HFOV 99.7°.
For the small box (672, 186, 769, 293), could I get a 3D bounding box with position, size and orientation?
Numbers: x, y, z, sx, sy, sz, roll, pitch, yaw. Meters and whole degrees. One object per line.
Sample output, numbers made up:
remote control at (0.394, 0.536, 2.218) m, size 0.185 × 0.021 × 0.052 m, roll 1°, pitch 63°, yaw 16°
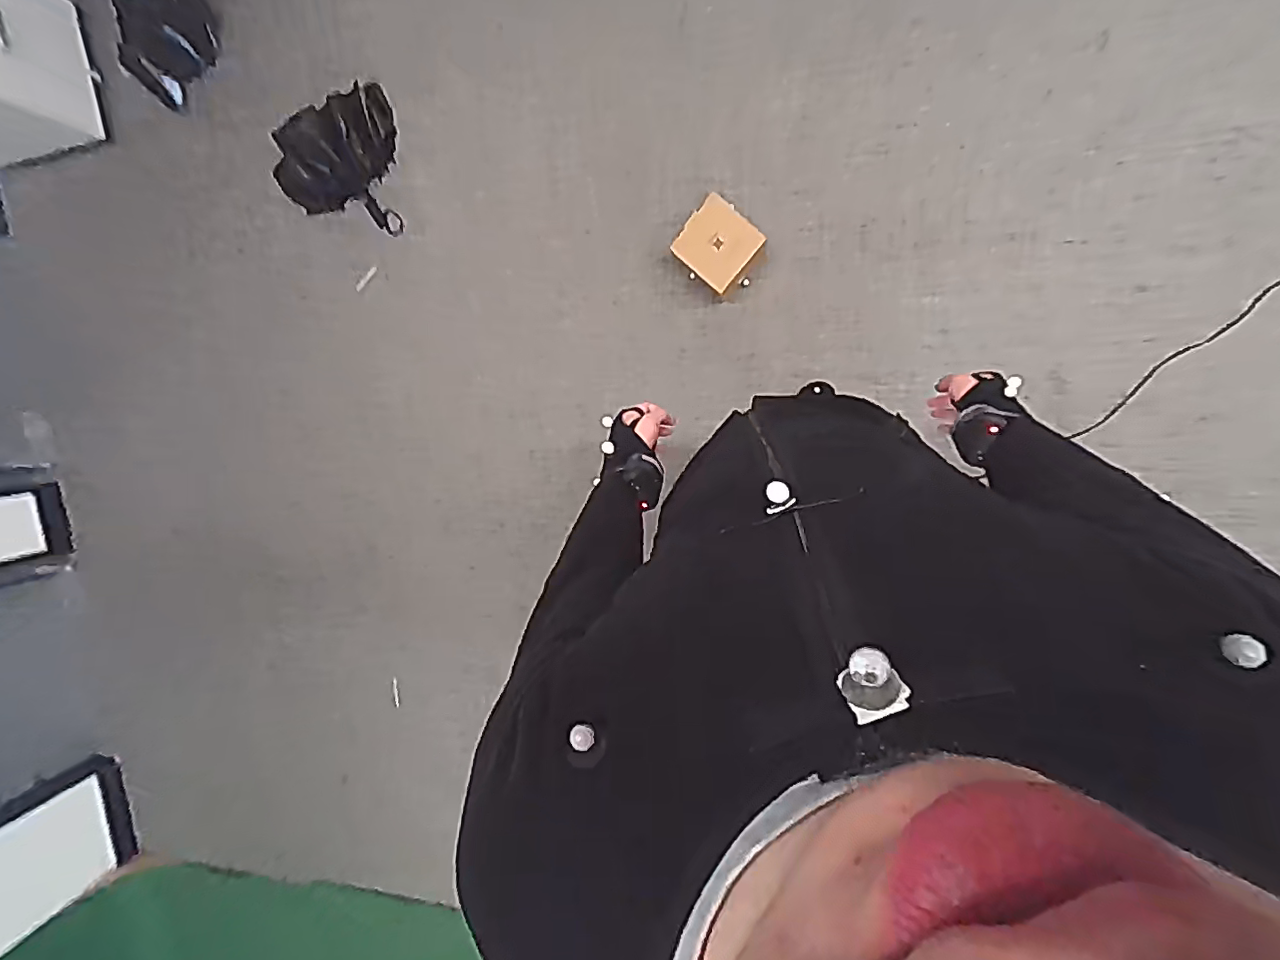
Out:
small box at (0.208, -0.600, 1.379) m, size 0.179 × 0.176 × 0.168 m, roll 42°, pitch 108°, yaw 2°
